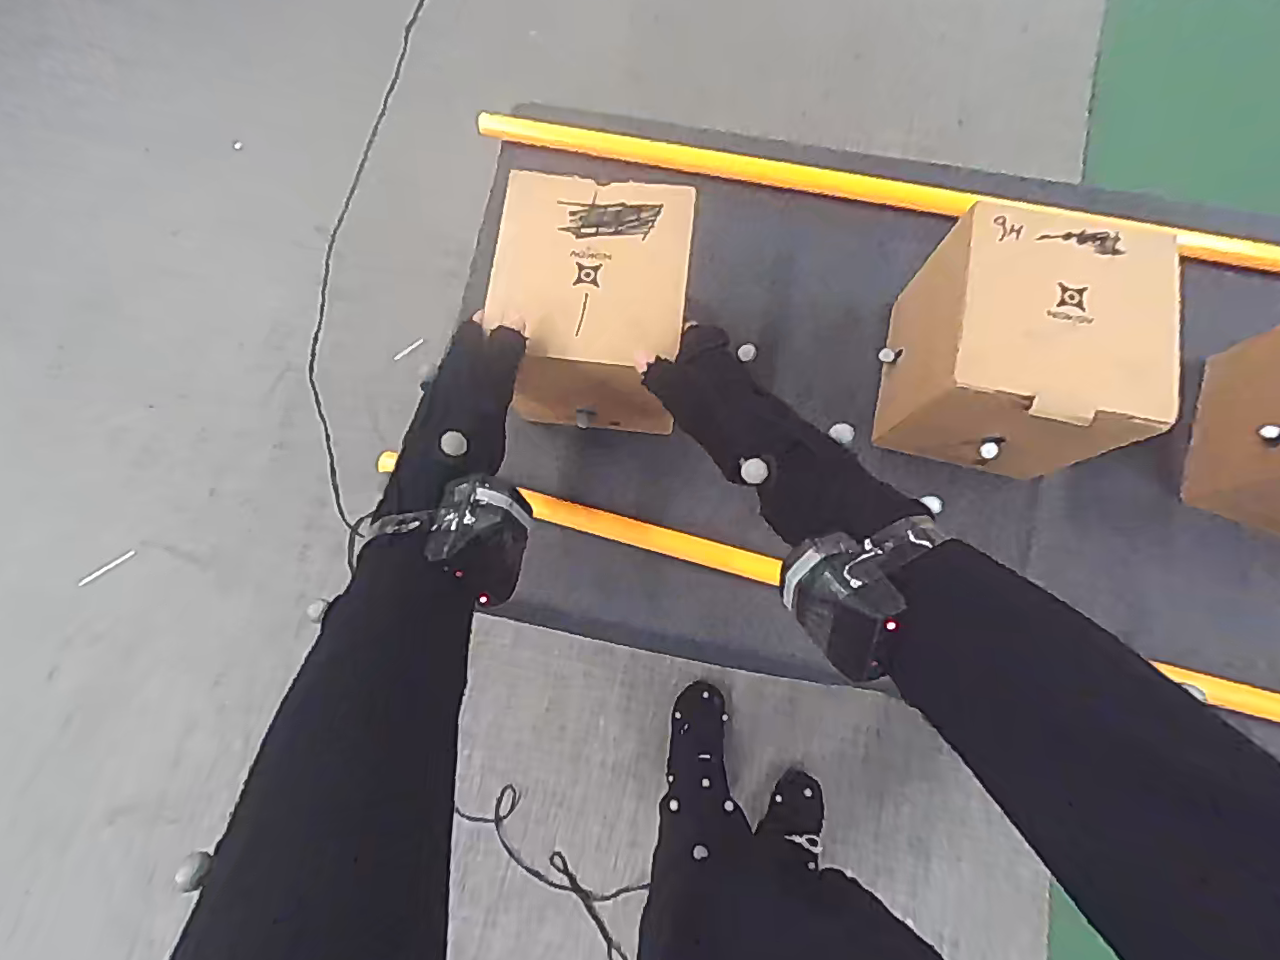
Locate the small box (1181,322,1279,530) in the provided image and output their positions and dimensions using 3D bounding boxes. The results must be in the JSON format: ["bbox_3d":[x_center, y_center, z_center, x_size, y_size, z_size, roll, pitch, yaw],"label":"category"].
[{"bbox_3d":[0.654,-0.048,0.487,0.168,0.176,0.179,21,76,6],"label":"small box"}]

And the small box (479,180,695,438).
[{"bbox_3d":[-0.040,-0.155,0.533,0.168,0.176,0.179,5,77,3],"label":"small box"}]

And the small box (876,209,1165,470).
[{"bbox_3d":[0.340,-0.119,0.516,0.168,0.176,0.179,9,76,6],"label":"small box"}]
